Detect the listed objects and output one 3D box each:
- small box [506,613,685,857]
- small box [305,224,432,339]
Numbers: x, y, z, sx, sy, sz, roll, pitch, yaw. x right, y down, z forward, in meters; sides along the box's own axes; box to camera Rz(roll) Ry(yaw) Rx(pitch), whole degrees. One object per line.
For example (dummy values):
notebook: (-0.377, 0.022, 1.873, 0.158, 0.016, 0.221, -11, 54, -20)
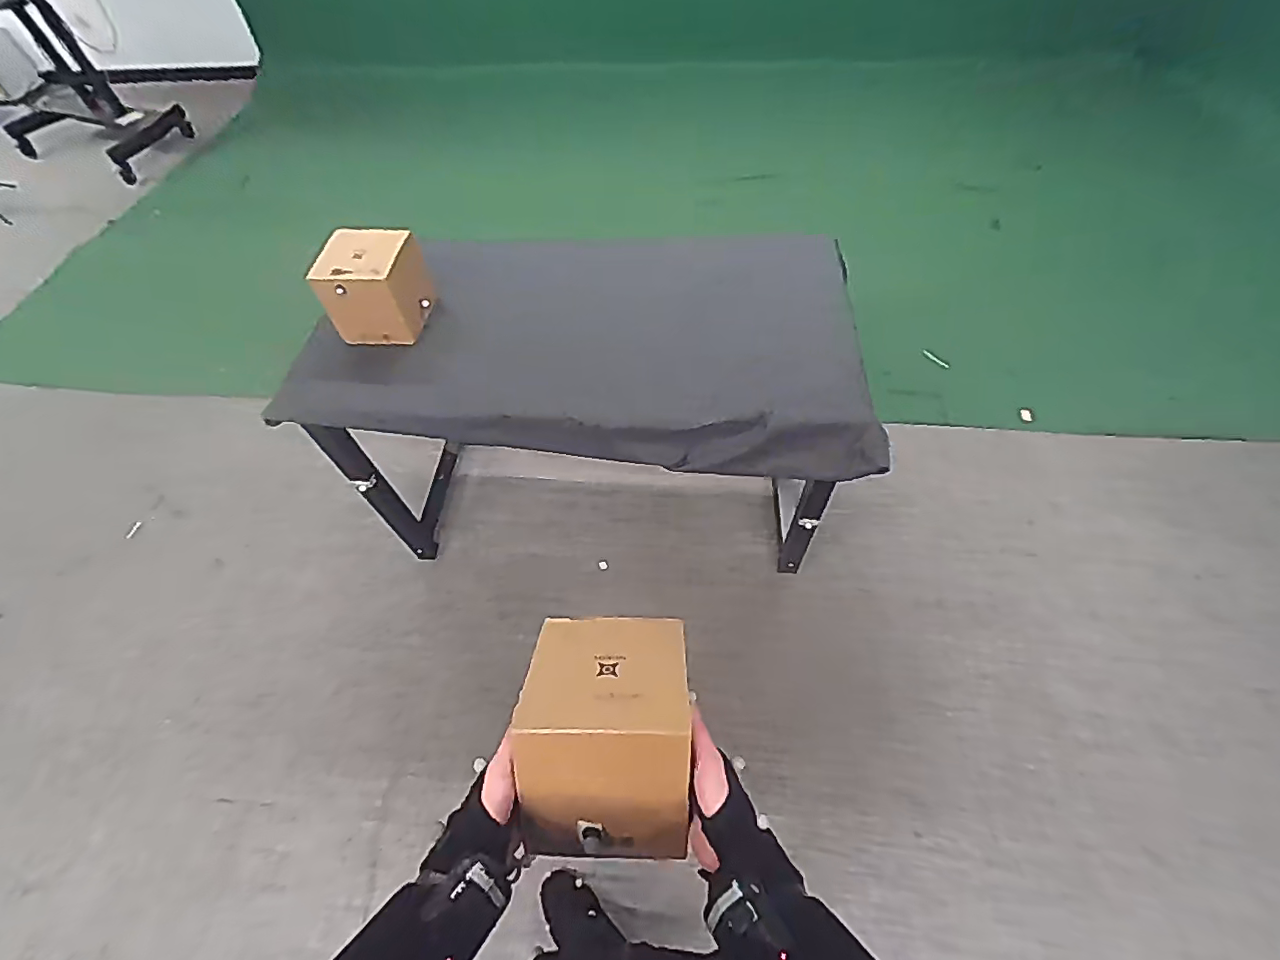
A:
small box: (-0.039, 0.267, 0.591, 0.168, 0.176, 0.179, 0, 22, 1)
small box: (-0.573, -0.429, 1.171, 0.168, 0.176, 0.179, 1, 56, 4)
